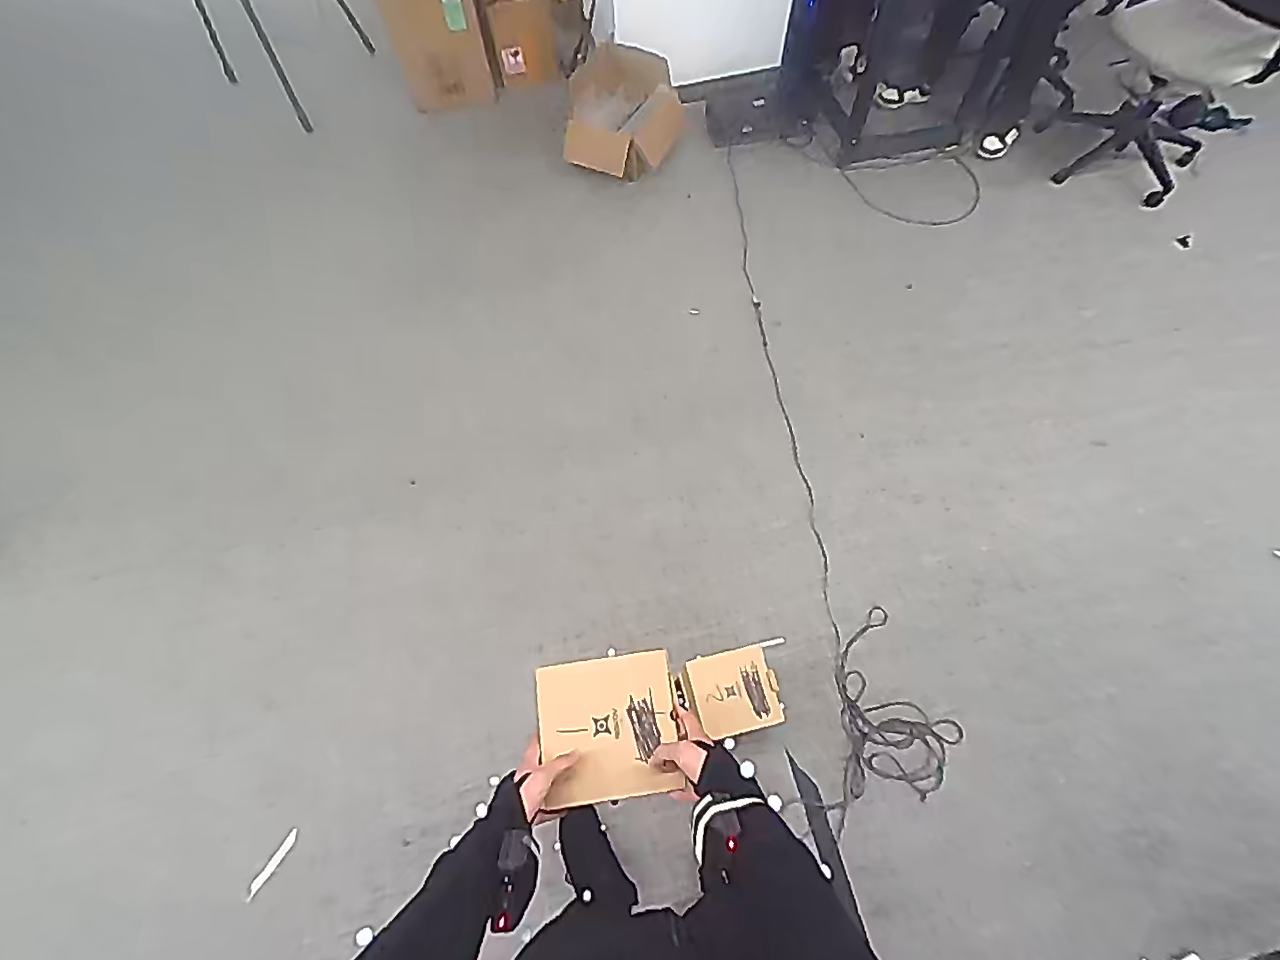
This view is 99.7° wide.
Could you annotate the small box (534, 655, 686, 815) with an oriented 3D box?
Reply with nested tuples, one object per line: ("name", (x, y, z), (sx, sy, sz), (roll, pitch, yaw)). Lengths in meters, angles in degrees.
("small box", (-0.039, 0.340, 0.744), (0.179, 0.176, 0.168), (-8, 68, -1))
